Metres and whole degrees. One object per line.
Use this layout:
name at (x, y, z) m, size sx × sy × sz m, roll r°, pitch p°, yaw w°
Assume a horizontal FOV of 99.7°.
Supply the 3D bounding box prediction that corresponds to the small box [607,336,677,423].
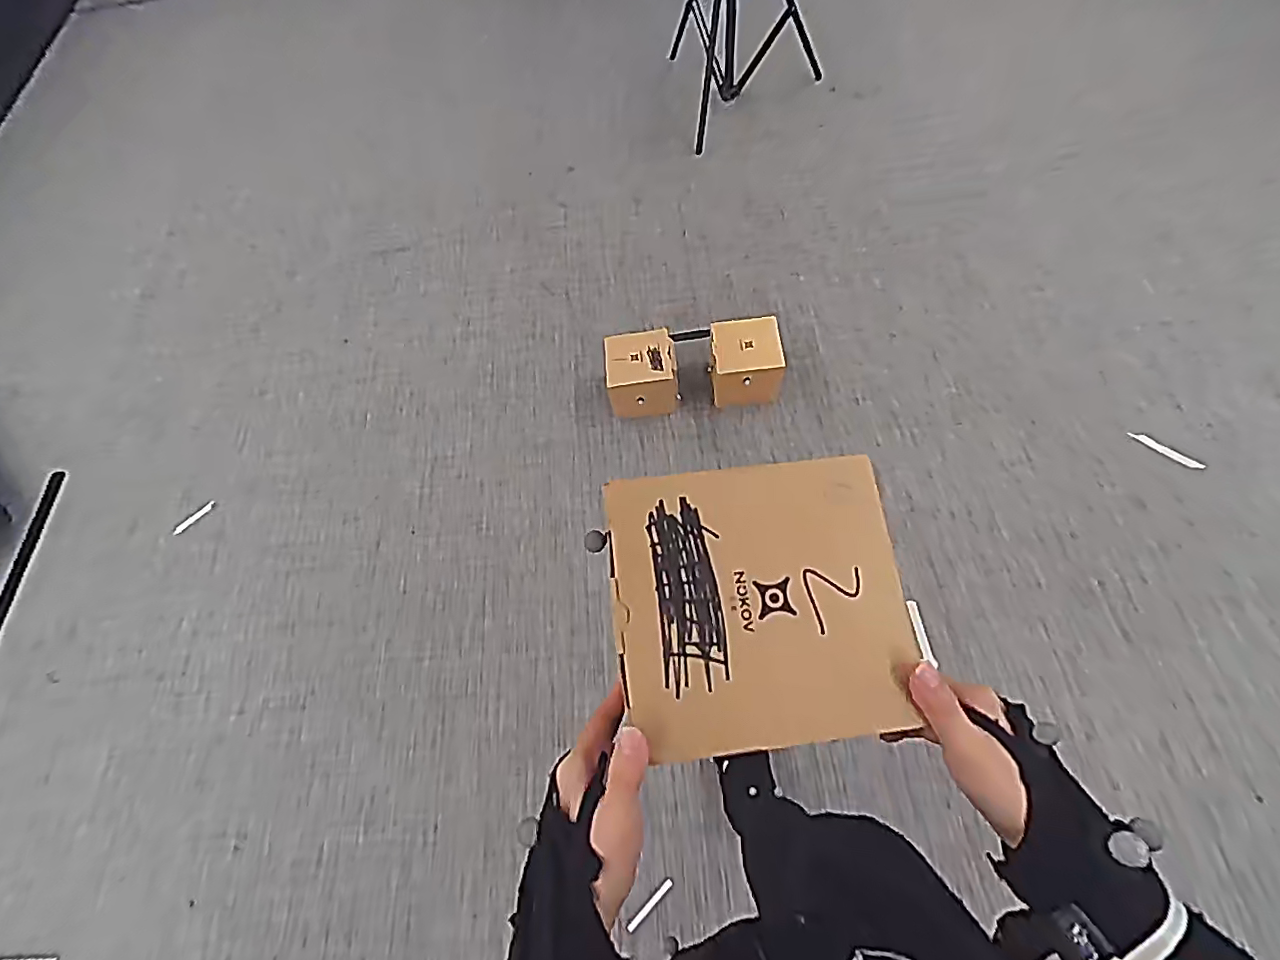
small box at (0.008, -0.275, 1.507) m, size 0.179 × 0.176 × 0.168 m, roll -7°, pitch 65°, yaw 6°

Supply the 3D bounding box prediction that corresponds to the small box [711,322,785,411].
small box at (0.290, -0.306, 1.485) m, size 0.179 × 0.176 × 0.168 m, roll -6°, pitch 66°, yaw 6°
